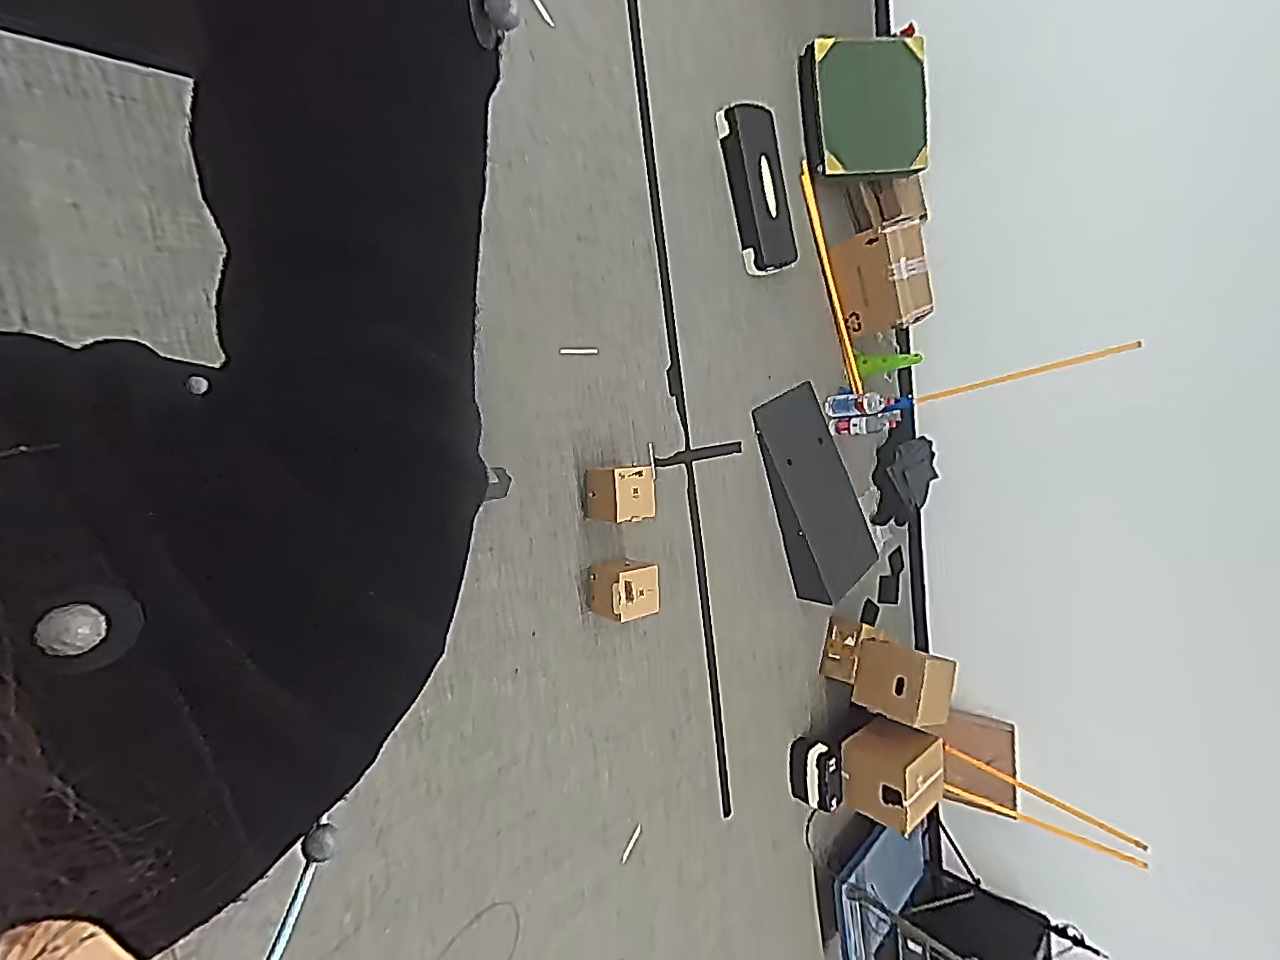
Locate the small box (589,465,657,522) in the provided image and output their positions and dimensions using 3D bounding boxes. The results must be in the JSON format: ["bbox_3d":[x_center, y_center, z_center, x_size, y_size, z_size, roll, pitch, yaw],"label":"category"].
[{"bbox_3d":[-0.061,0.040,1.835,0.168,0.176,0.179,-6,95,-40],"label":"small box"}]

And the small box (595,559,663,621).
[{"bbox_3d":[-0.043,0.371,1.857,0.179,0.176,0.168,-5,94,-41],"label":"small box"}]
